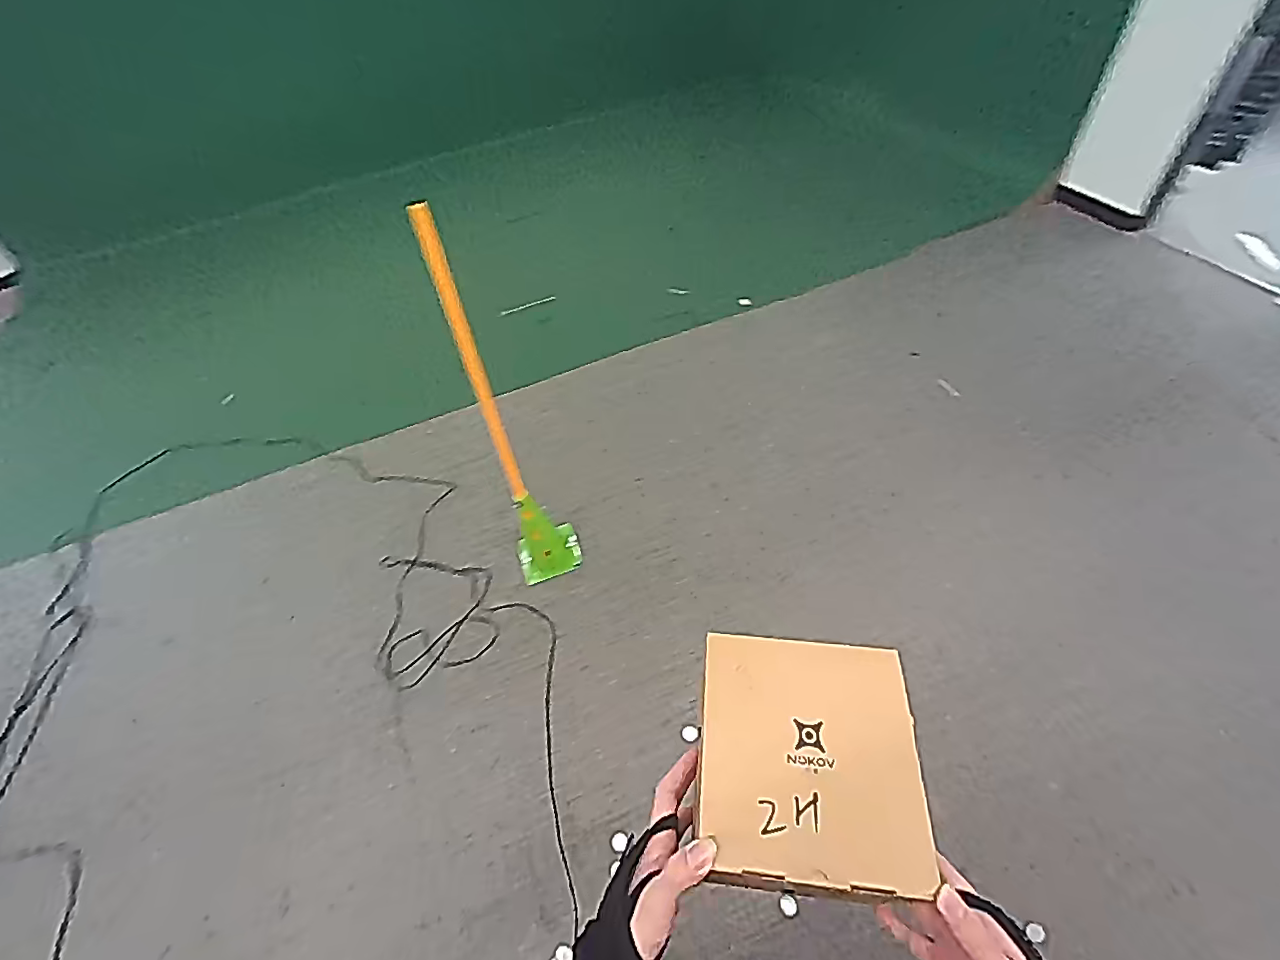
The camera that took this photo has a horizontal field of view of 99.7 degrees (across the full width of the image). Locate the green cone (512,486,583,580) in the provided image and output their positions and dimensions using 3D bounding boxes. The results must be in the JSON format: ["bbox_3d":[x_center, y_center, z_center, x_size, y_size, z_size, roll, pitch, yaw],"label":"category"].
[{"bbox_3d":[-0.342,0.138,1.788,0.202,0.368,0.200,-20,50,-5],"label":"green cone"}]
